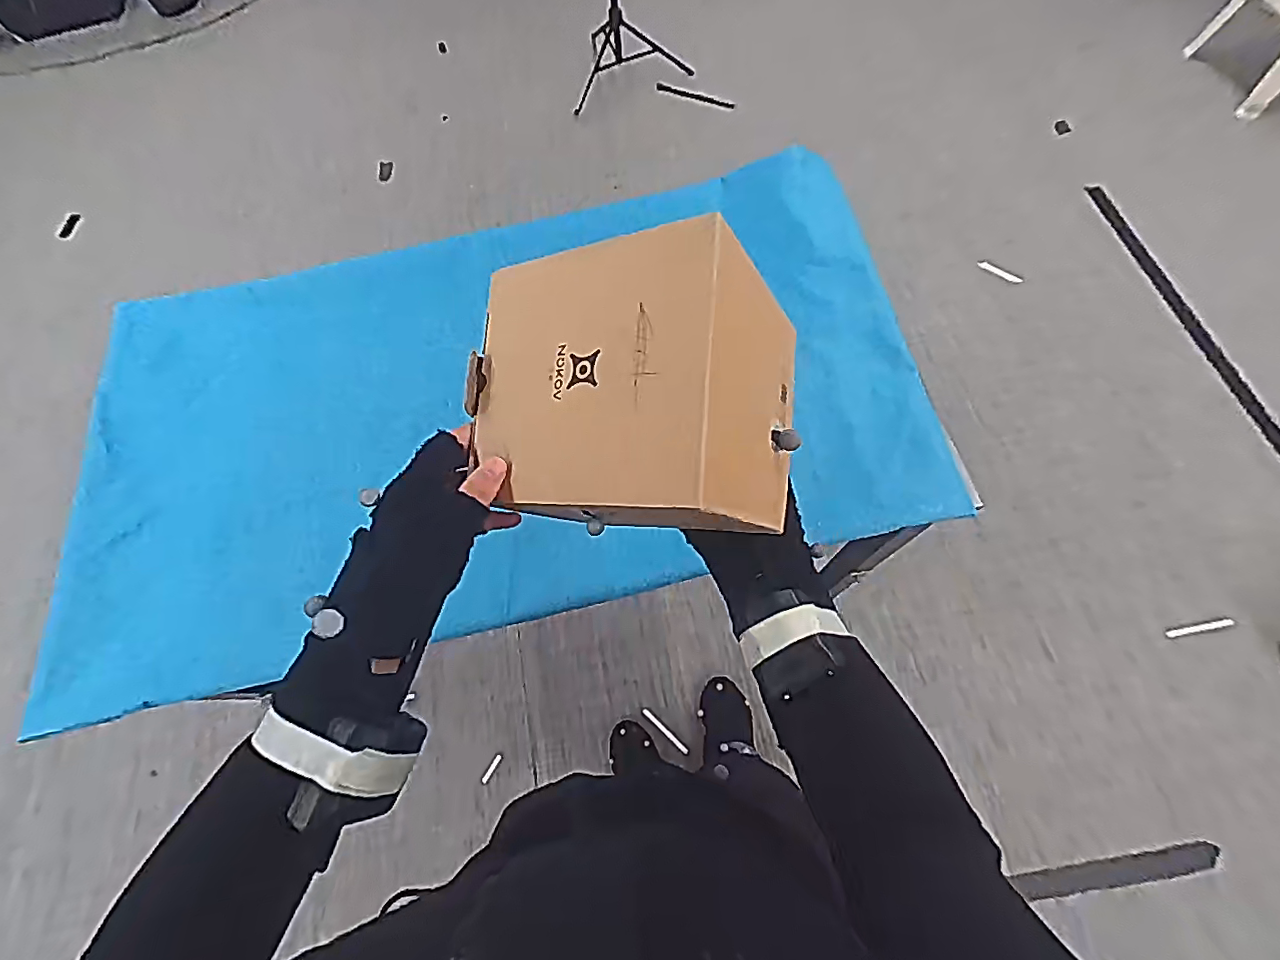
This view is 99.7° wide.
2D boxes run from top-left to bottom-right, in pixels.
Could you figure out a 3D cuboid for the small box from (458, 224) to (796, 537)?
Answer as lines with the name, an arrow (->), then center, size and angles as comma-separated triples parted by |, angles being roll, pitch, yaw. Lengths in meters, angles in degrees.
small box -> 0.001, -0.049, 0.395 | 0.179, 0.176, 0.168 | 1, 82, 30
